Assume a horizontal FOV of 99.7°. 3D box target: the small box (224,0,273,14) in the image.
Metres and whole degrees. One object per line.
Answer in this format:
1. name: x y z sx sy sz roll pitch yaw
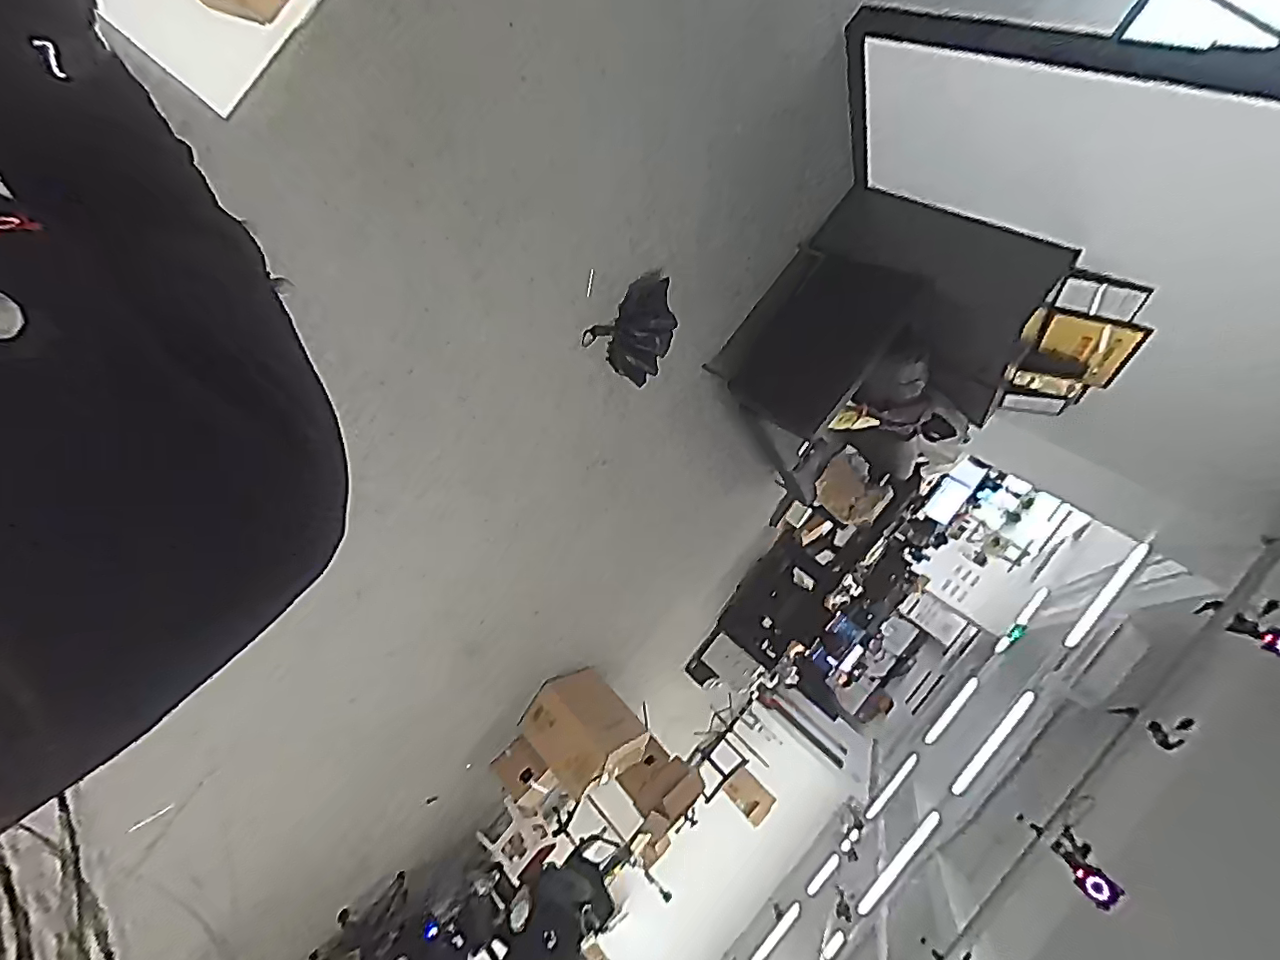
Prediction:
1. small box: -0.371 -0.543 0.450 0.179 0.176 0.168 -53 151 -1
